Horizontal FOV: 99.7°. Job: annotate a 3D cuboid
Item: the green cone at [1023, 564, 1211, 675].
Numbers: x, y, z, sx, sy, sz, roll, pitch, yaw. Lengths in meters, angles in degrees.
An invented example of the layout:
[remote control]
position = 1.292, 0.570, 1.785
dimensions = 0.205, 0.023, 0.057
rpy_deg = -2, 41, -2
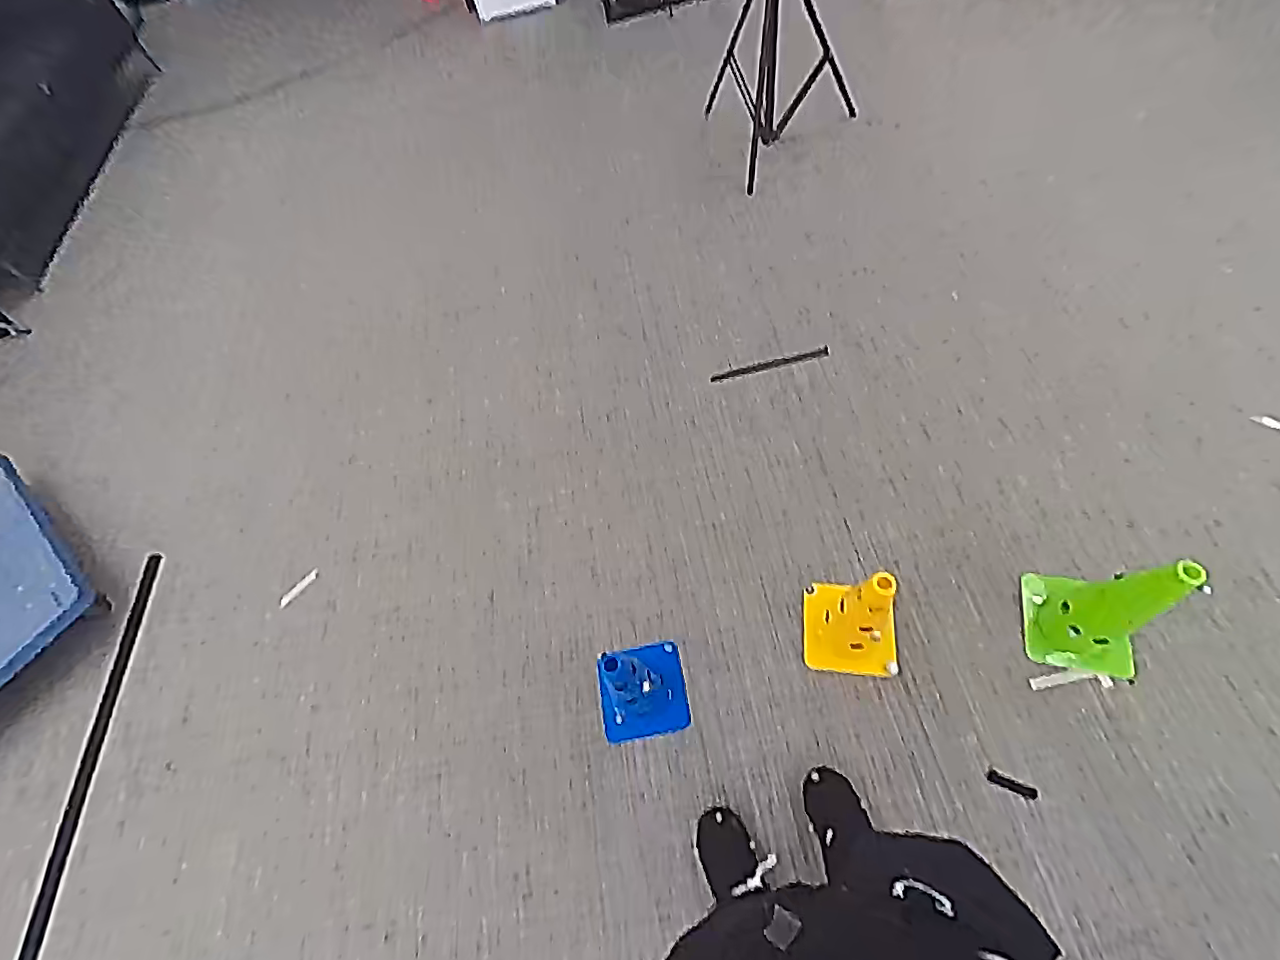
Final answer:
[green cone]
position = 0.922, 0.230, 1.028
dimensions = 0.200, 0.368, 0.202
rpy_deg = 7, 65, 14
